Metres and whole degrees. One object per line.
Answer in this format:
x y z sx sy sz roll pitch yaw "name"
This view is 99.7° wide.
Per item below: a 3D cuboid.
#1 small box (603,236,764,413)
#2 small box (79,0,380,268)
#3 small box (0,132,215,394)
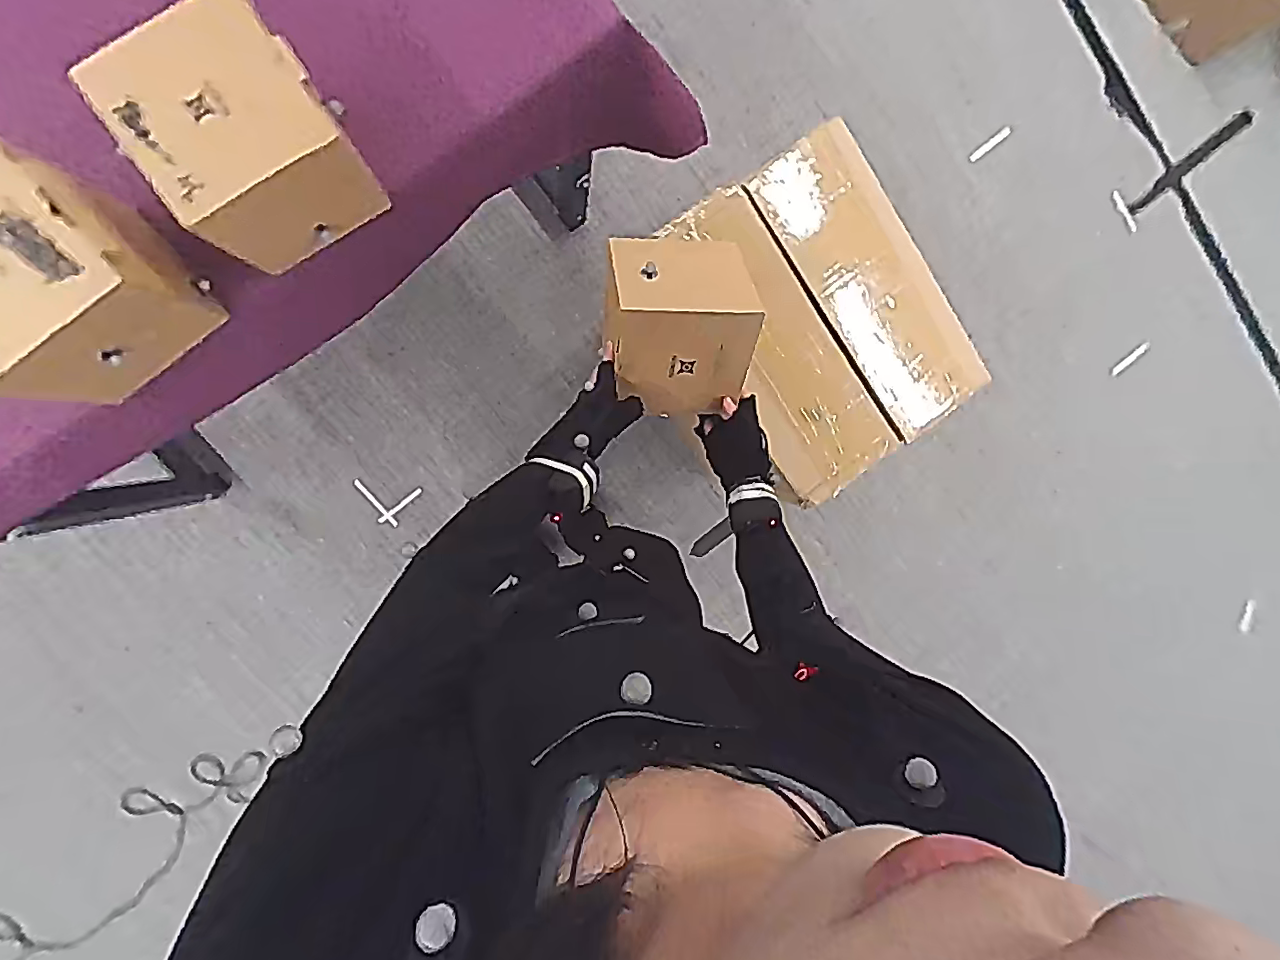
0.042 -0.208 0.725 0.179 0.168 0.176 -3 52 -8 "small box"
-0.416 -0.368 0.594 0.179 0.176 0.168 -34 98 -5 "small box"
-0.611 -0.210 0.577 0.179 0.176 0.168 -39 98 -2 "small box"
